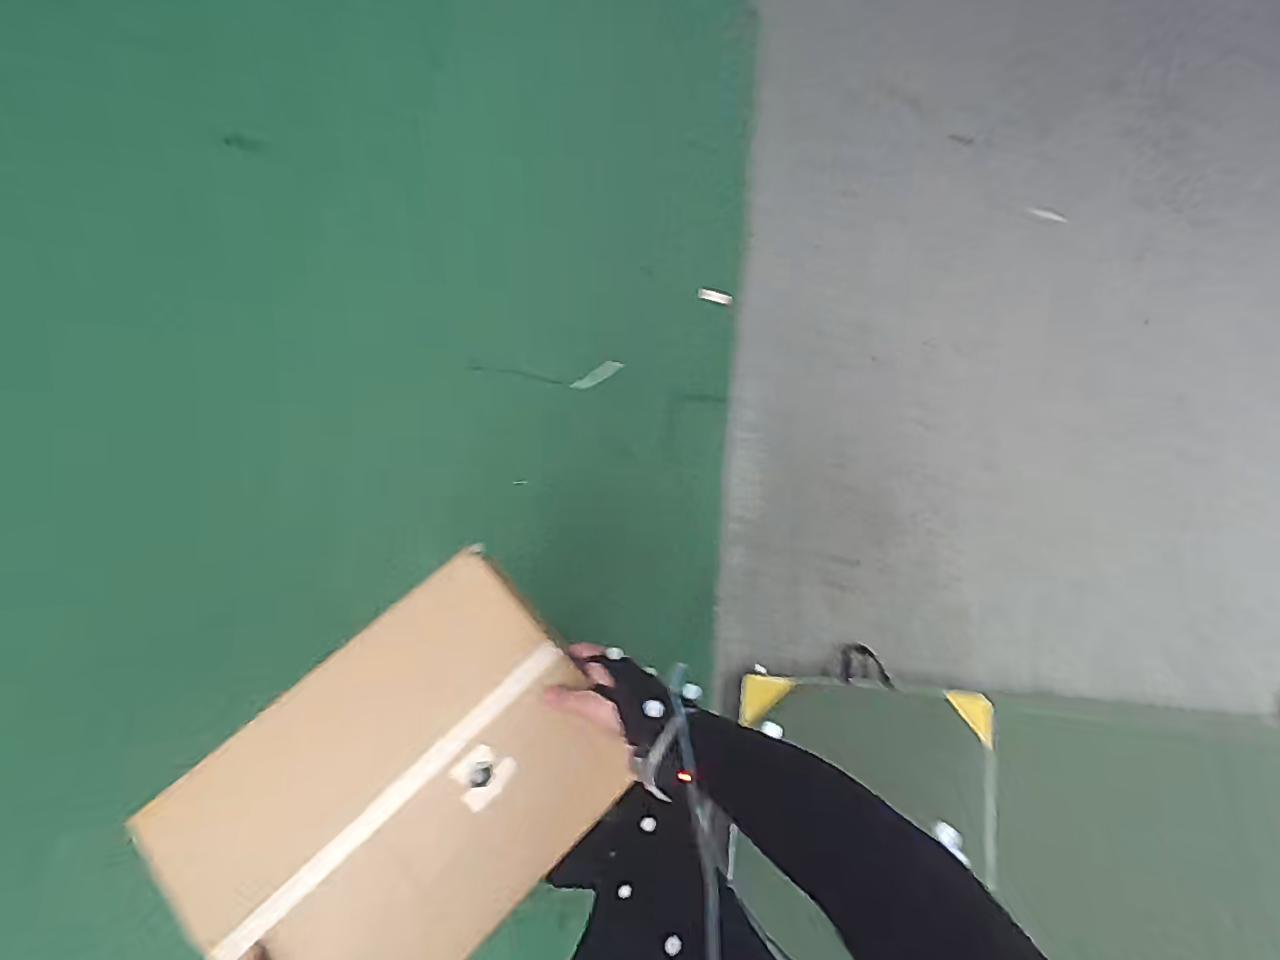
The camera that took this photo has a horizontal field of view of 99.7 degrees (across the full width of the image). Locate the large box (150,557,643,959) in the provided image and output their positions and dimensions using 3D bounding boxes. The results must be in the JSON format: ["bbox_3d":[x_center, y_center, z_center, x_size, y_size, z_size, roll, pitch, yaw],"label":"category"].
[{"bbox_3d":[-0.248,0.373,0.690,0.408,0.320,0.320,-42,78,-17],"label":"large box"}]
